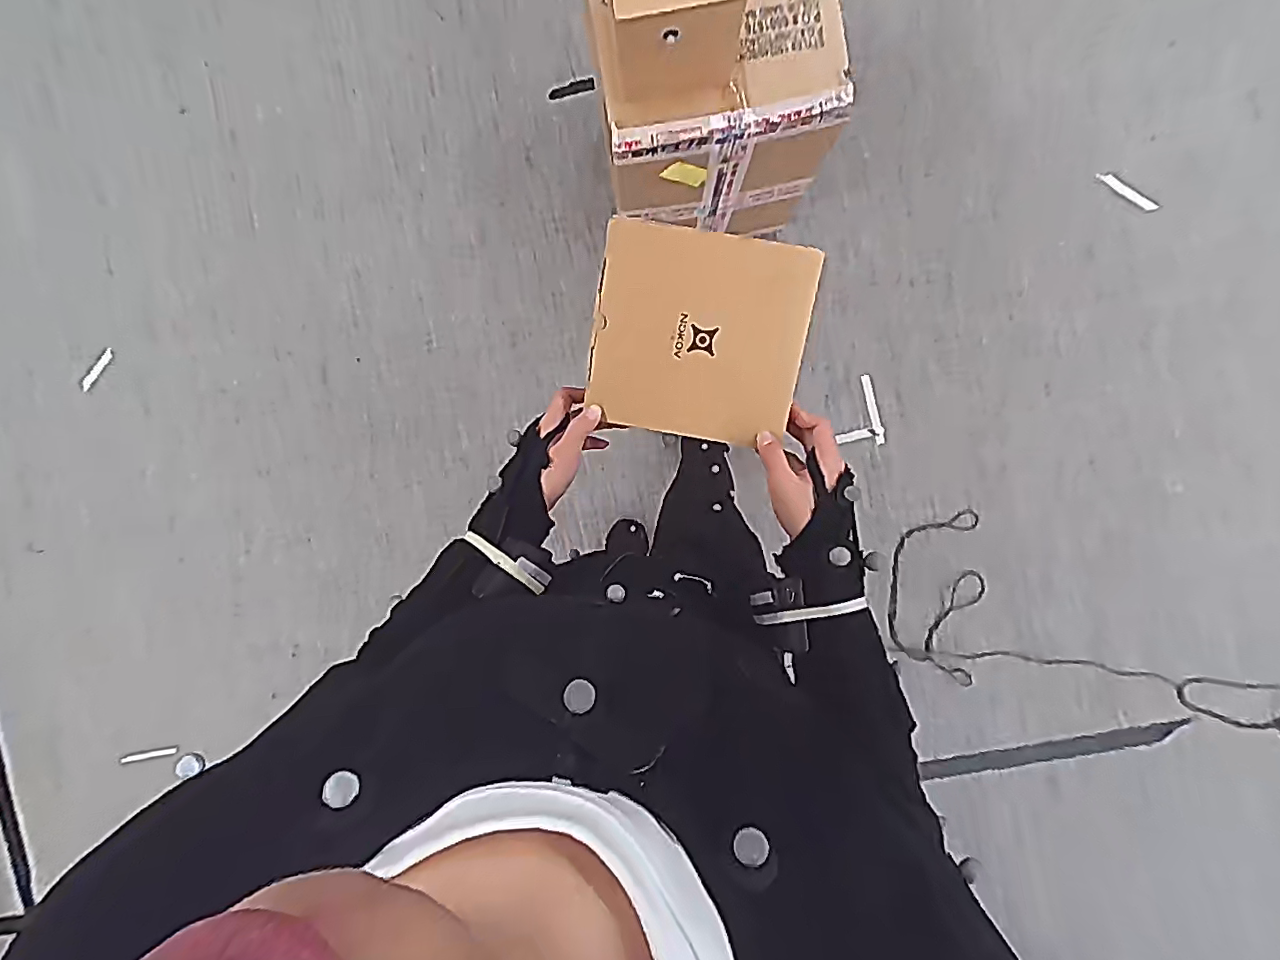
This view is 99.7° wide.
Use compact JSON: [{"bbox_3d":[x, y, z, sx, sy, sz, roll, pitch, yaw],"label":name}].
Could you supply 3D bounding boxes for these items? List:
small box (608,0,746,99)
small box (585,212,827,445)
[{"bbox_3d":[0.043,-0.681,0.768,0.179,0.176,0.168,-9,94,1],"label":"small box"},{"bbox_3d":[0.058,-0.141,0.526,0.179,0.176,0.168,11,103,4],"label":"small box"}]
